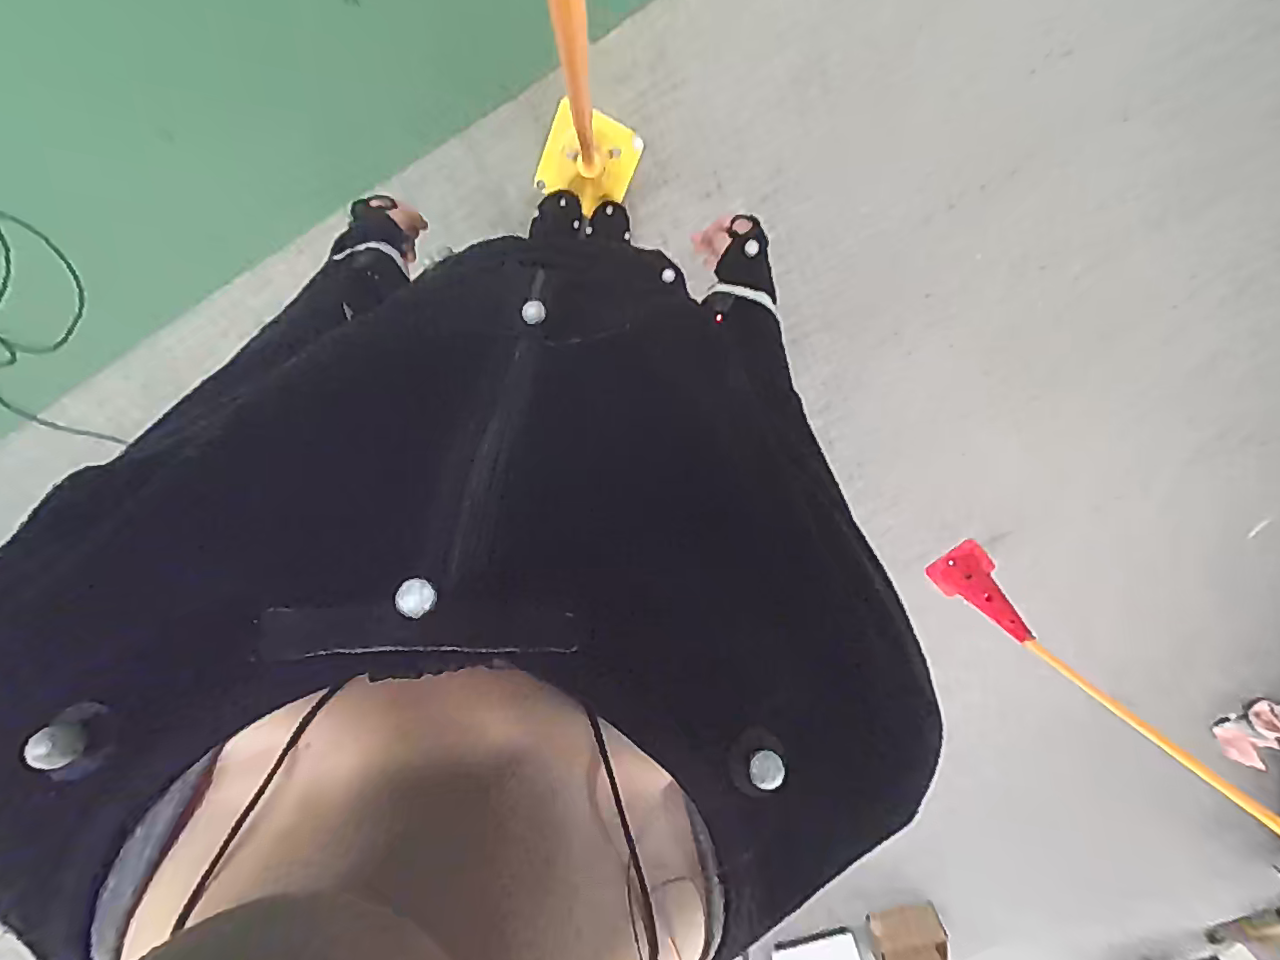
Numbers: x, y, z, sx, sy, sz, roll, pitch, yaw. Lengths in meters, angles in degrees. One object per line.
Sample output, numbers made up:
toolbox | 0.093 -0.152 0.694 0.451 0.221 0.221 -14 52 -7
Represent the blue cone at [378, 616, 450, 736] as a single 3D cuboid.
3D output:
blue cone | -0.737 0.626 1.702 0.192 0.380 0.193 13 119 -14
